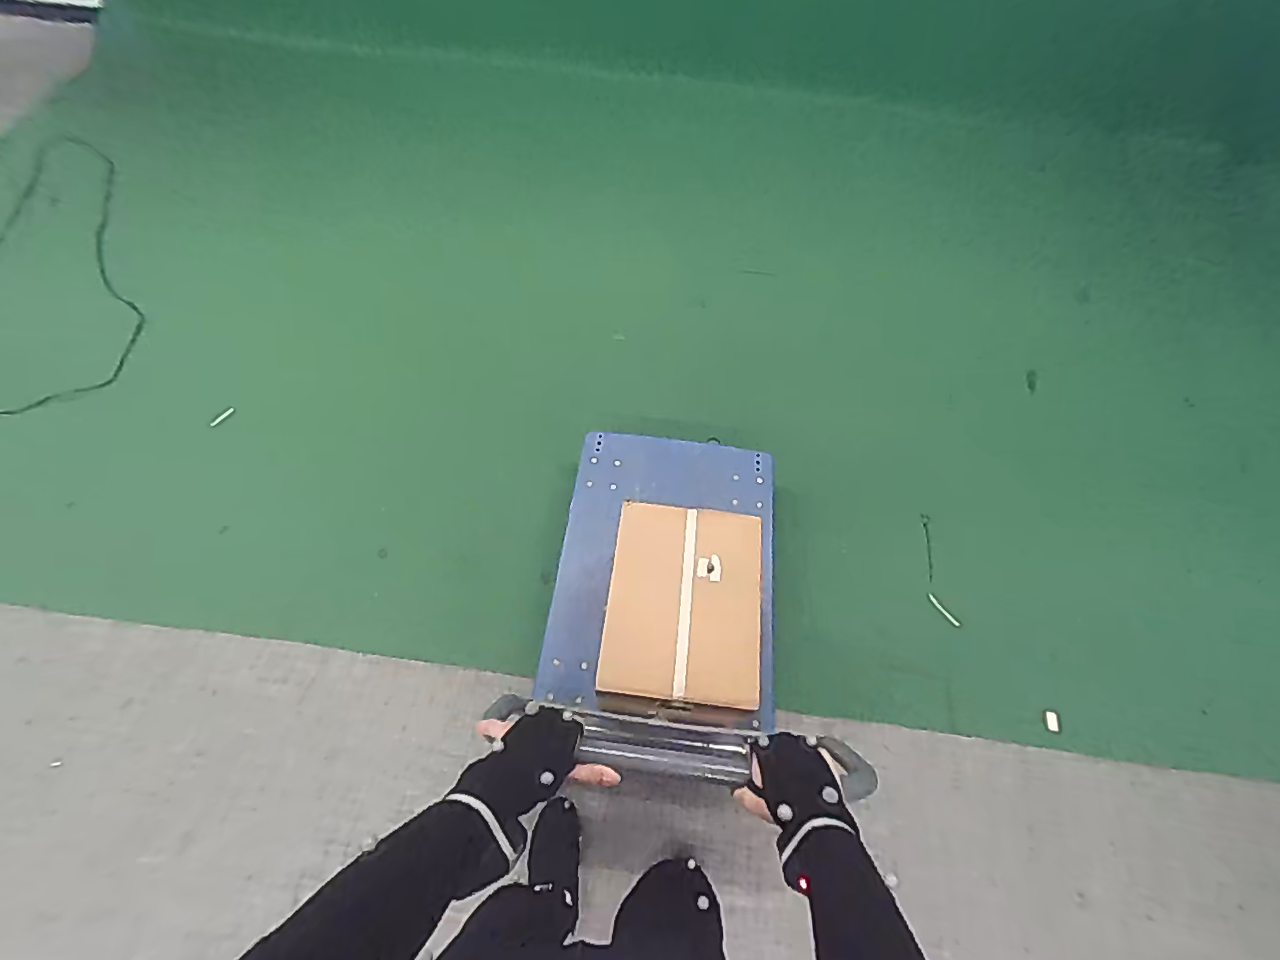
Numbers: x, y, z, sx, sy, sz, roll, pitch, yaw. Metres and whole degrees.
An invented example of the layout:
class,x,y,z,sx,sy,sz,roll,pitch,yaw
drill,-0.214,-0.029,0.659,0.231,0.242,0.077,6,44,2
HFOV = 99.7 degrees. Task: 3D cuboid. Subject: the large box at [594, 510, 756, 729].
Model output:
class,x,y,z,sx,sy,sz,roll,pitch,yaw
large box,0.078,0.329,1.241,0.320,0.320,0.408,7,60,0
